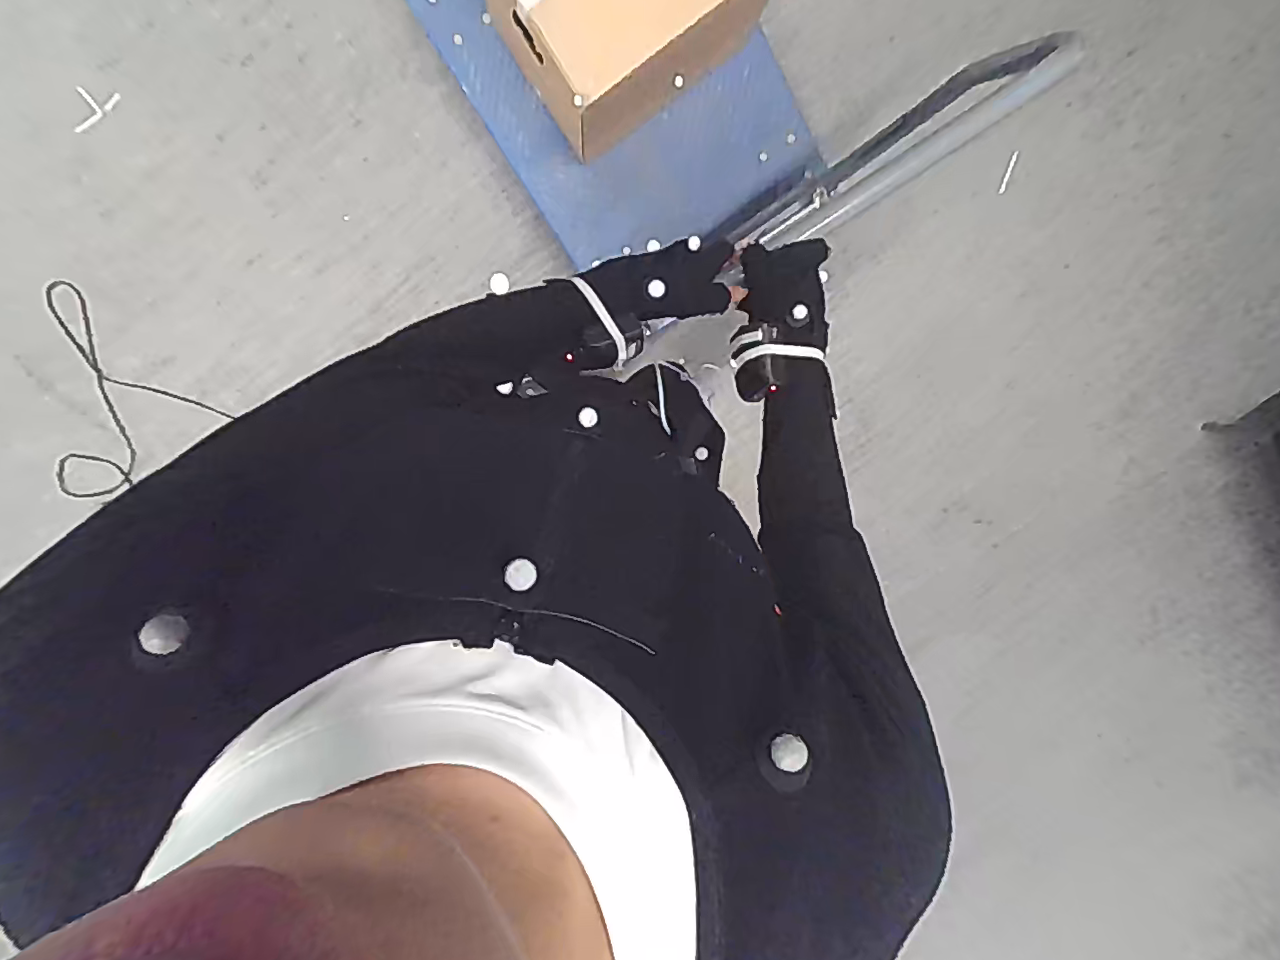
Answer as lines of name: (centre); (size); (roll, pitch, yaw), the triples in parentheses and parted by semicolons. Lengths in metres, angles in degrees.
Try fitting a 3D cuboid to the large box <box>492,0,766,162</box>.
large box: (-0.016, -0.854, 0.940); (0.408, 0.320, 0.320); (-35, 105, 5)
